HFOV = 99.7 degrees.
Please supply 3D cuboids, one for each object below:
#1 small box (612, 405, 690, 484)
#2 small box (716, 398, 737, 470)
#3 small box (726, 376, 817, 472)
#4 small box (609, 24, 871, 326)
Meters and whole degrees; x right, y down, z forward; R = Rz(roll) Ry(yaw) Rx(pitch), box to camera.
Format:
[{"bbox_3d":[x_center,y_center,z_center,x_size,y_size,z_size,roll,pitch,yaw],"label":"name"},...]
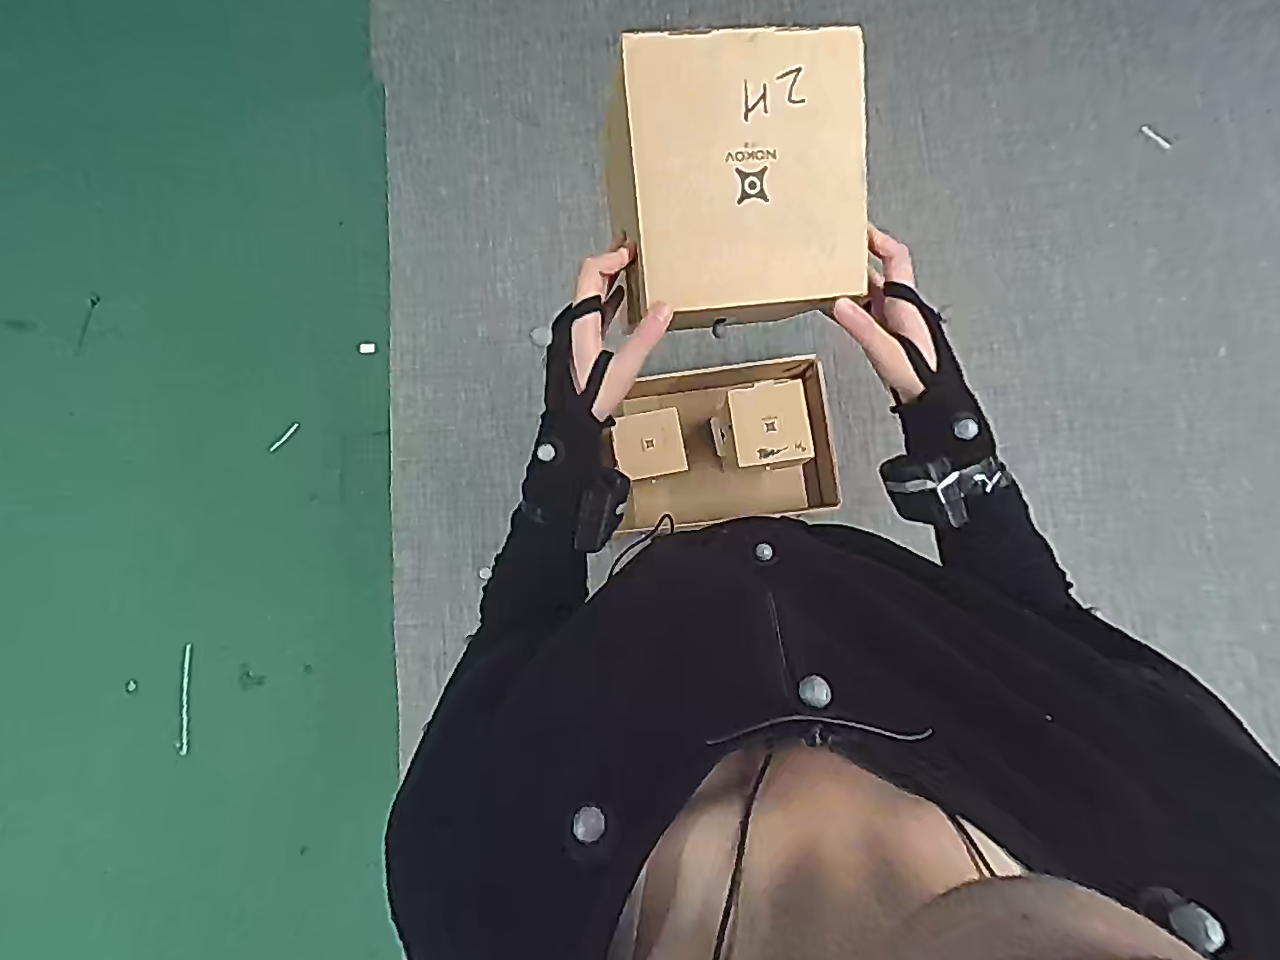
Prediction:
[{"bbox_3d":[0.032,-0.088,1.431,0.179,0.176,0.168,-10,84,1],"label":"small box"},{"bbox_3d":[0.299,-0.128,1.411,0.179,0.176,0.168,-12,84,4],"label":"small box"},{"bbox_3d":[0.294,-0.122,1.246,0.168,0.176,0.179,-8,83,5],"label":"small box"},{"bbox_3d":[0.068,-0.223,0.444,0.168,0.176,0.179,-7,101,-7],"label":"small box"}]
